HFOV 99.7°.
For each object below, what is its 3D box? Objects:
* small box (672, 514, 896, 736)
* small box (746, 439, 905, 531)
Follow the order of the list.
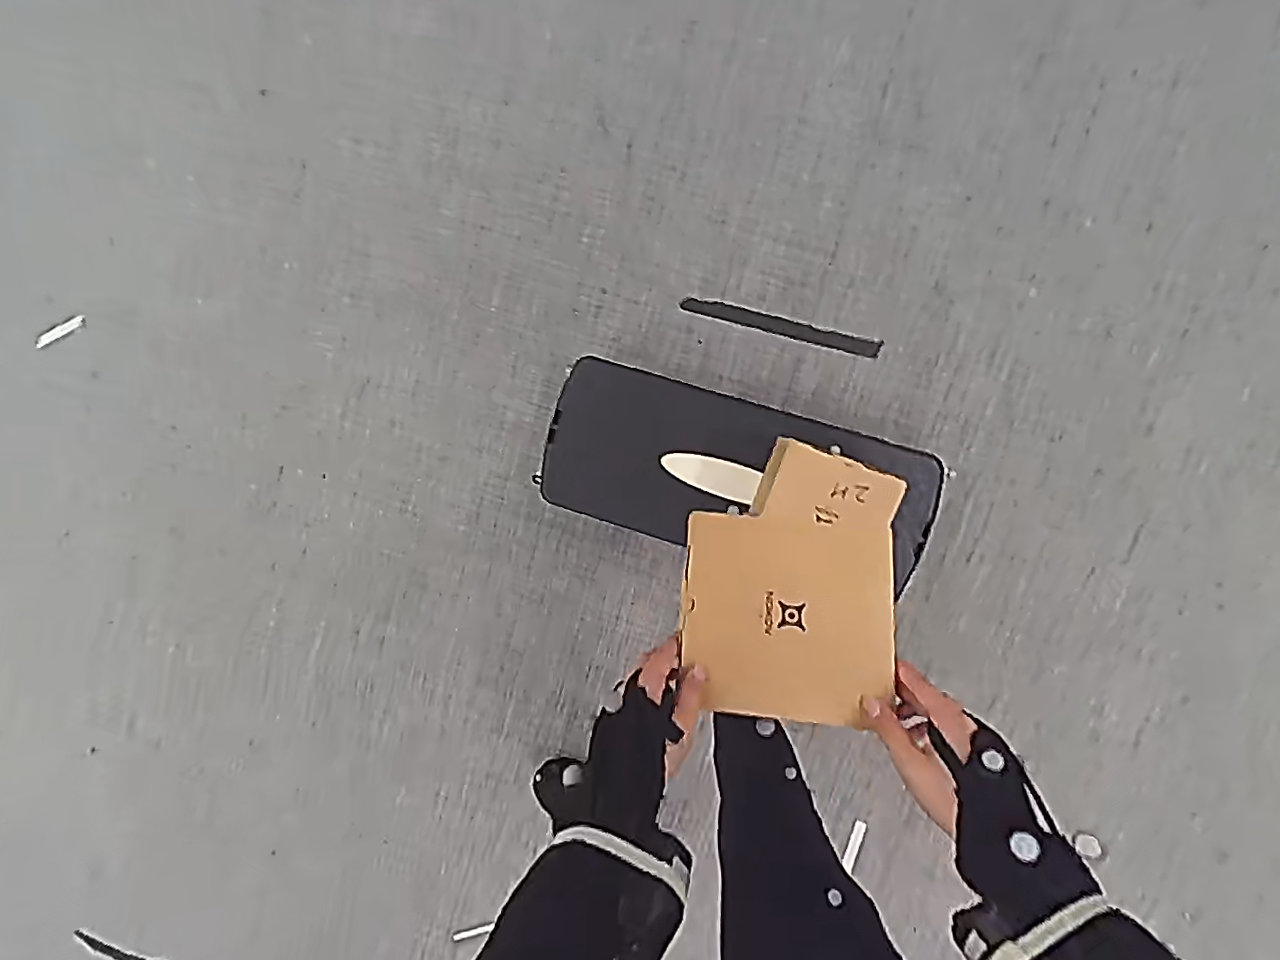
[{"bbox_3d":[0.127,0.136,0.523,0.179,0.176,0.168,3,74,8],"label":"small box"},{"bbox_3d":[0.262,0.047,0.818,0.168,0.176,0.179,22,97,5],"label":"small box"}]
